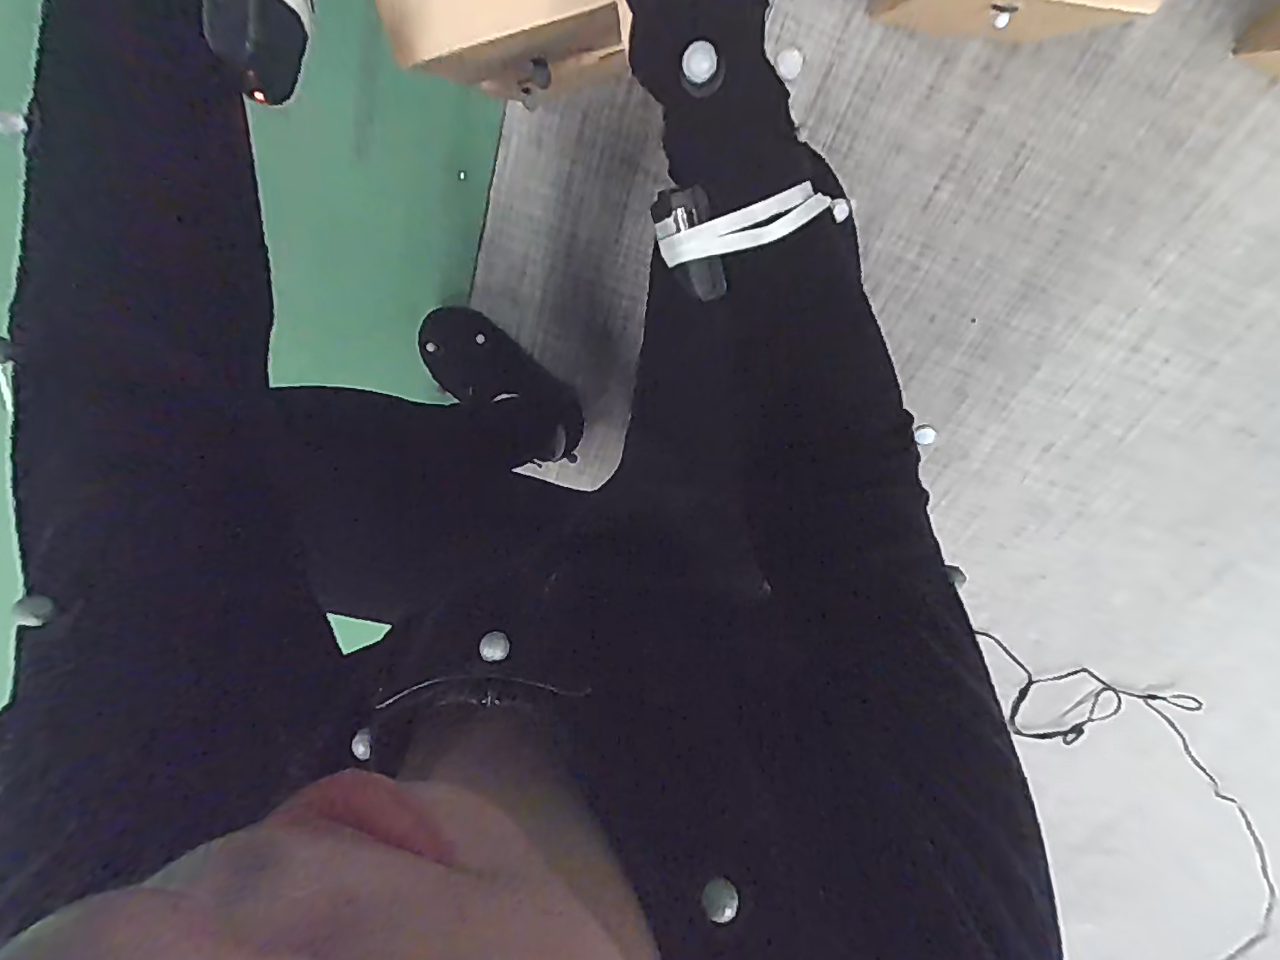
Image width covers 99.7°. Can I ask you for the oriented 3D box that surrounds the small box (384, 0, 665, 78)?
[{"bbox_3d":[-0.080,-0.384,0.342,0.168,0.176,0.179,-9,123,8],"label":"small box"}]

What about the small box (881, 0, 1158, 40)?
[{"bbox_3d":[0.334,-0.492,0.453,0.179,0.176,0.168,6,123,-3],"label":"small box"}]

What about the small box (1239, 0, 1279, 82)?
[{"bbox_3d":[0.728,-0.443,0.475,0.179,0.176,0.168,17,121,-10],"label":"small box"}]
